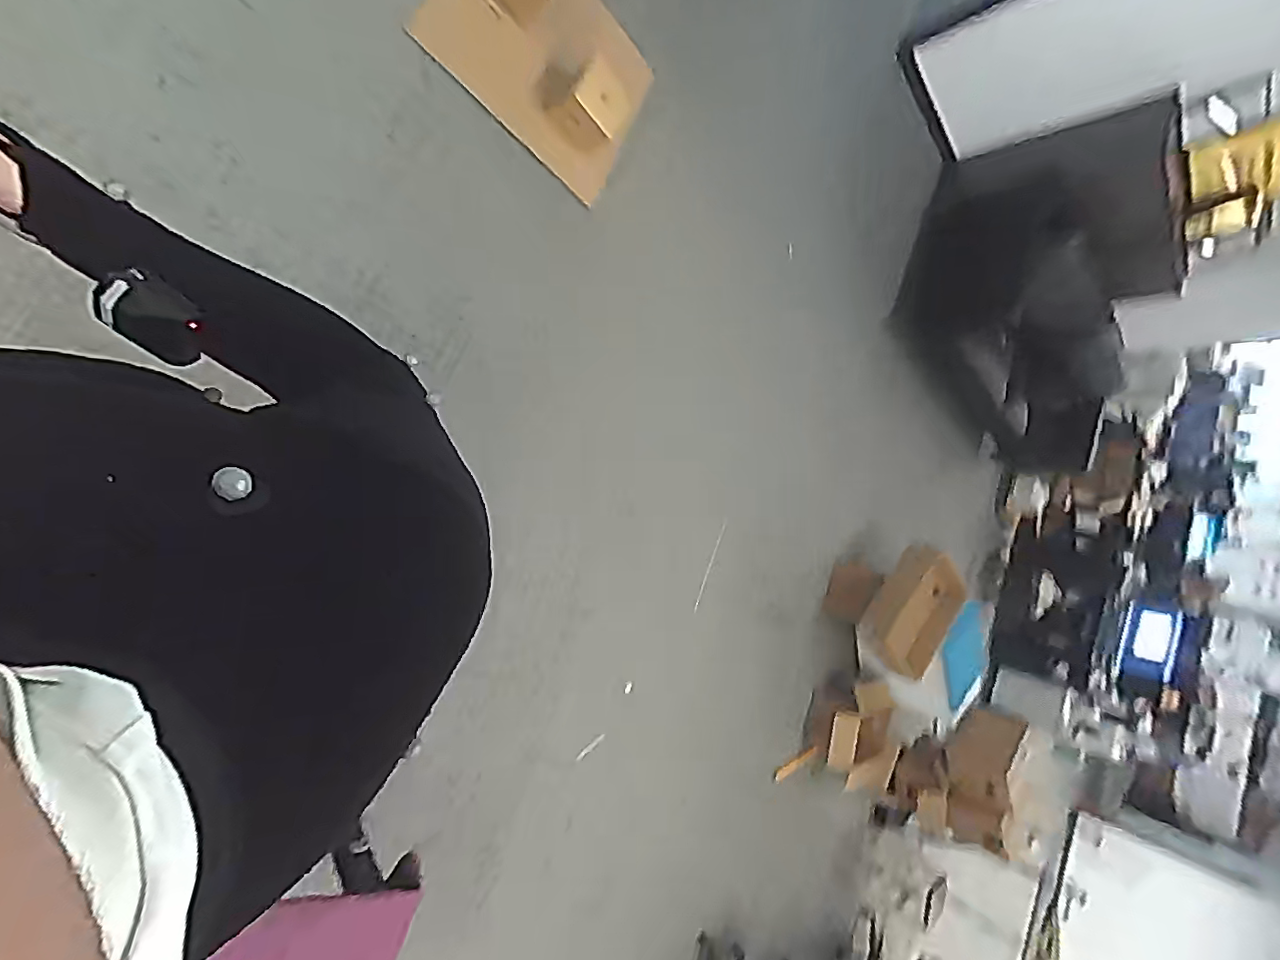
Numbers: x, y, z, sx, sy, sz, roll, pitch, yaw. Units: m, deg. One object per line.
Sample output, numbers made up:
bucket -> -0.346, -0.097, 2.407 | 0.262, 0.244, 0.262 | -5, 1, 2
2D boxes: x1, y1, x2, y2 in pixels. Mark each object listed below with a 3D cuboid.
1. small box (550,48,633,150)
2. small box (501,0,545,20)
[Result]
small box -> -0.159, -1.197, 1.716 | 0.168, 0.176, 0.179 | 34, 74, -38
small box -> -0.331, -1.477, 1.529 | 0.168, 0.176, 0.179 | 22, 82, -40
